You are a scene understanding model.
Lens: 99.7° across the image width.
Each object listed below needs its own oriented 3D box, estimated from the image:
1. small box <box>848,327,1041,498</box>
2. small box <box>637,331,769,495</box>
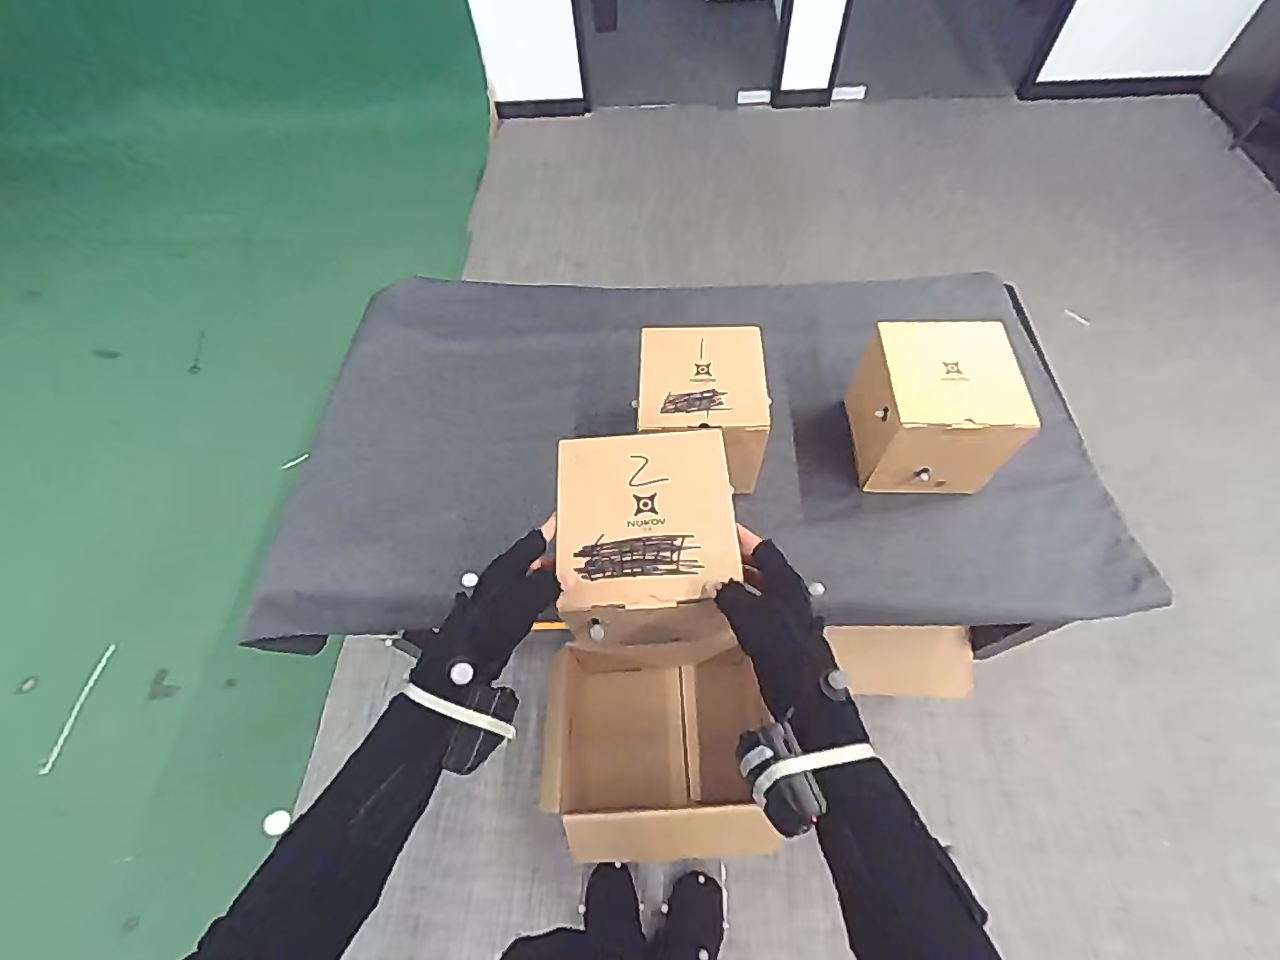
[{"bbox_3d":[0.407,-0.093,0.762,0.168,0.176,0.179,1,60,4],"label":"small box"},{"bbox_3d":[0.087,-0.090,0.777,0.168,0.176,0.179,0,59,3],"label":"small box"}]
